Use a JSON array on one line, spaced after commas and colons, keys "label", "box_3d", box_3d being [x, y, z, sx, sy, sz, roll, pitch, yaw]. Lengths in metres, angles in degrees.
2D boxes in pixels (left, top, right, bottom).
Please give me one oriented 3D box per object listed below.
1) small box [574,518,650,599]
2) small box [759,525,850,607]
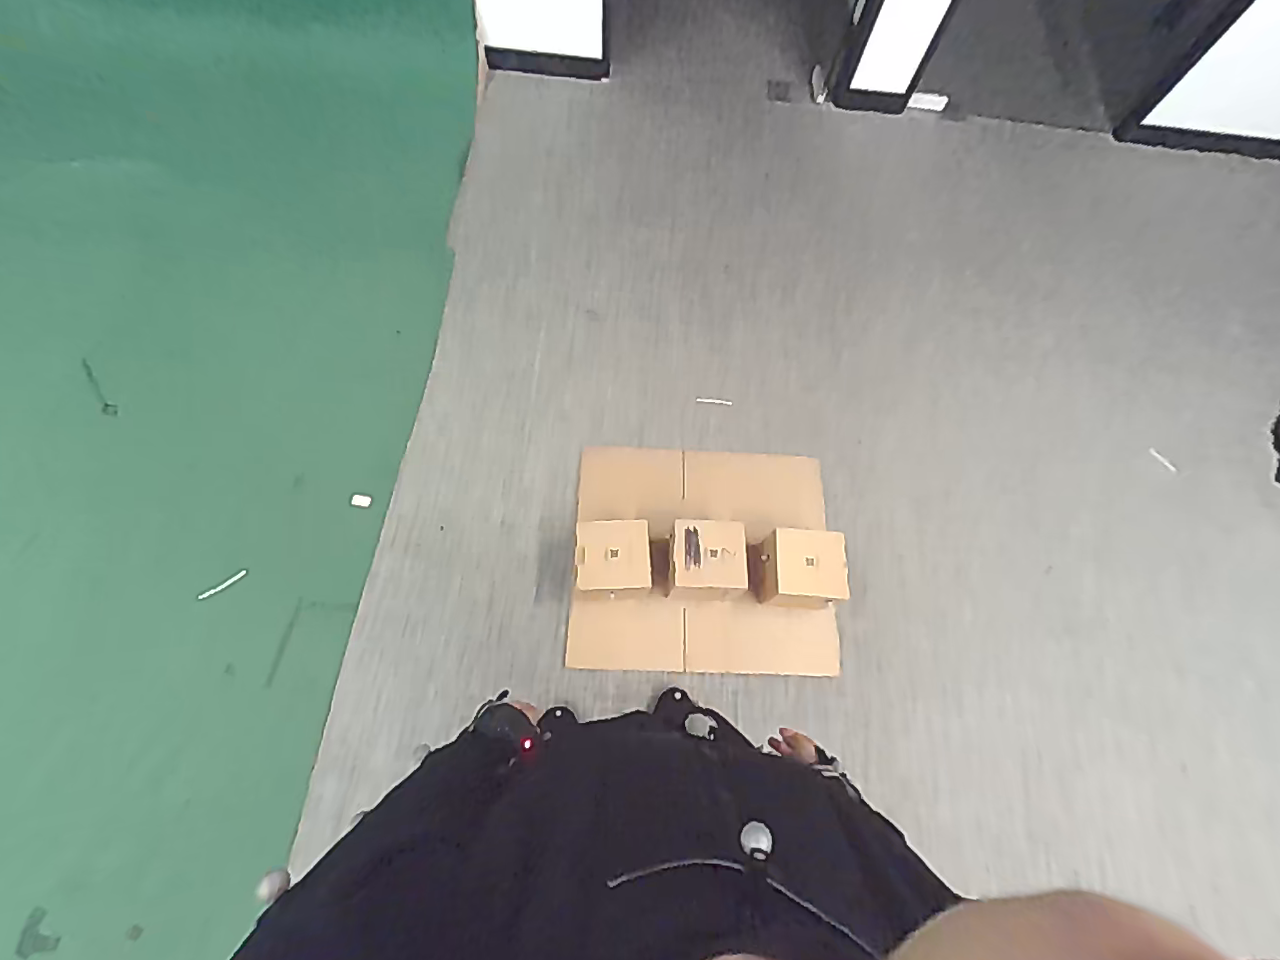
[{"label": "small box", "box_3d": [-0.071, 0.197, 1.336, 0.179, 0.176, 0.168, -2, 69, -6]}, {"label": "small box", "box_3d": [0.403, 0.222, 1.360, 0.179, 0.176, 0.168, 5, 67, -3]}]
